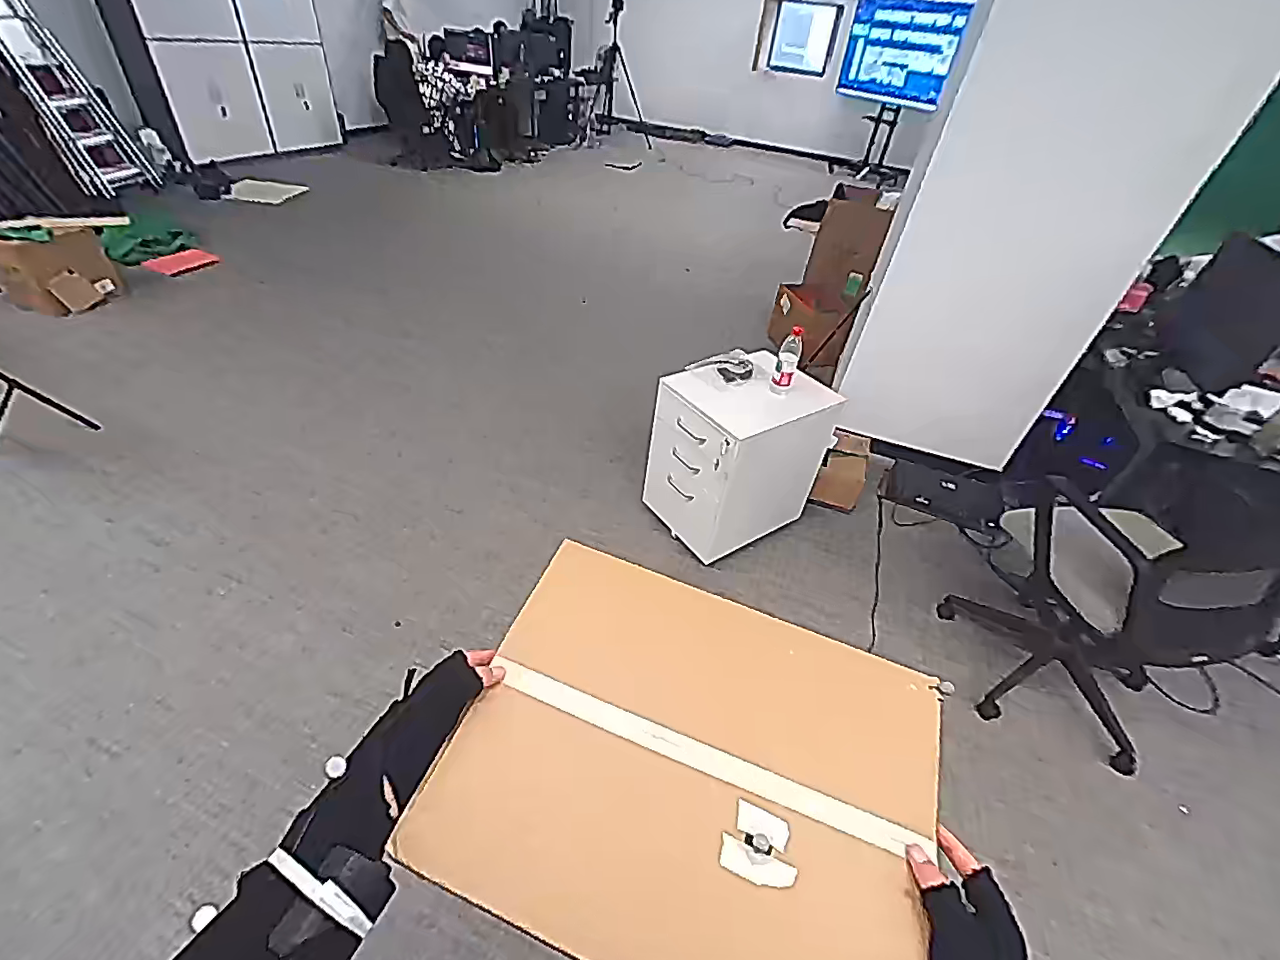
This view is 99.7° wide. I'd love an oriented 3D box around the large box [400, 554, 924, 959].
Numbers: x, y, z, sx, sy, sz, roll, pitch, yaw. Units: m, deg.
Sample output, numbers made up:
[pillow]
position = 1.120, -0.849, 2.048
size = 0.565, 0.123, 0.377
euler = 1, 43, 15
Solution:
[large box]
position = 0.033, 0.344, 0.593
size = 0.408, 0.320, 0.320
euler = 20, 51, 10
